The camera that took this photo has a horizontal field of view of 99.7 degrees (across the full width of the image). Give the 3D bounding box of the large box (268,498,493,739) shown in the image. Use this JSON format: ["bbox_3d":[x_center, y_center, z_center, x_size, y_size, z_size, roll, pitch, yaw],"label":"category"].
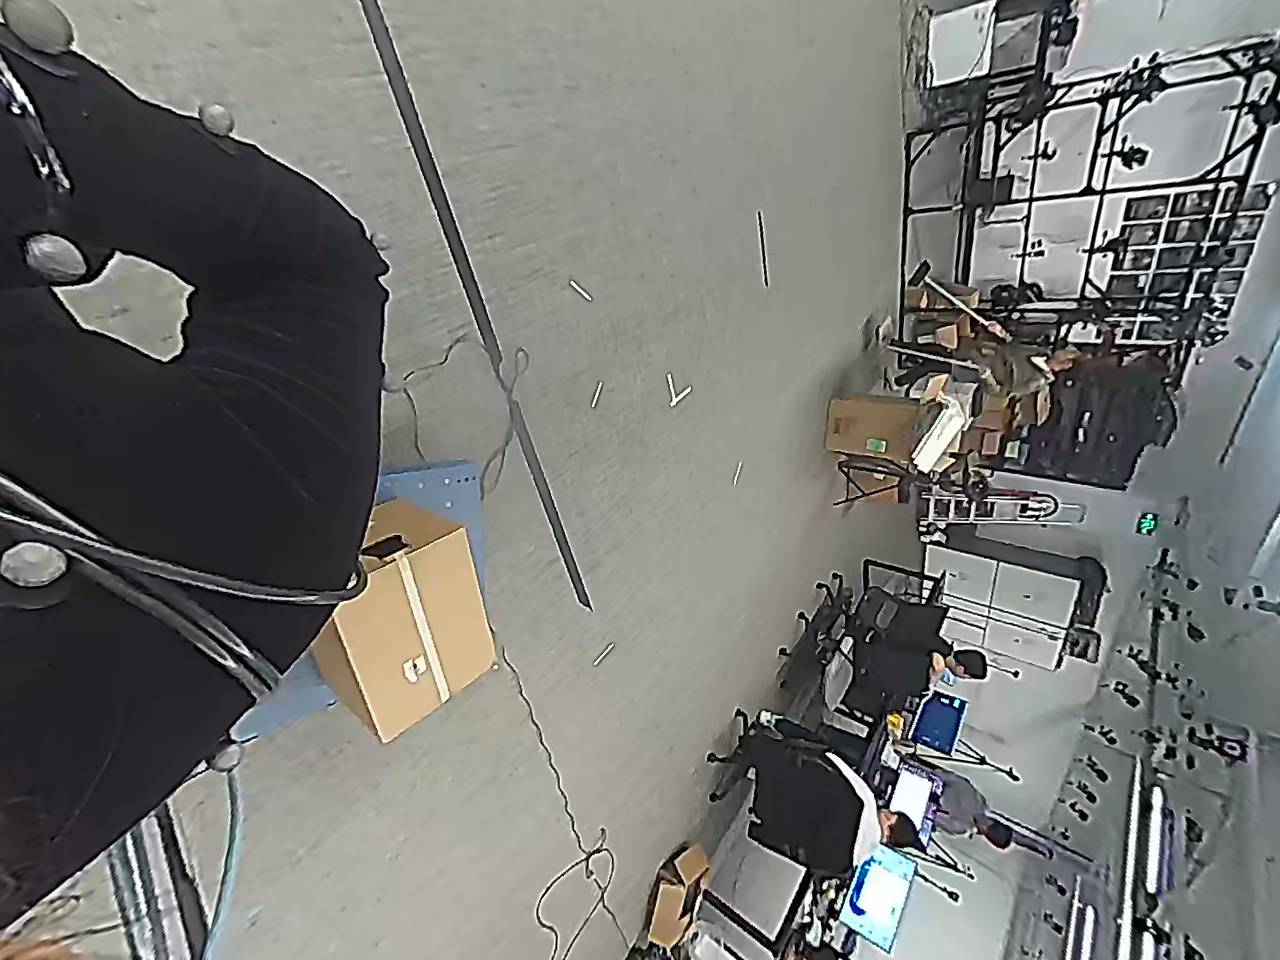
[{"bbox_3d":[-0.605,0.305,1.292,0.320,0.320,0.408,-29,123,-43],"label":"large box"}]
